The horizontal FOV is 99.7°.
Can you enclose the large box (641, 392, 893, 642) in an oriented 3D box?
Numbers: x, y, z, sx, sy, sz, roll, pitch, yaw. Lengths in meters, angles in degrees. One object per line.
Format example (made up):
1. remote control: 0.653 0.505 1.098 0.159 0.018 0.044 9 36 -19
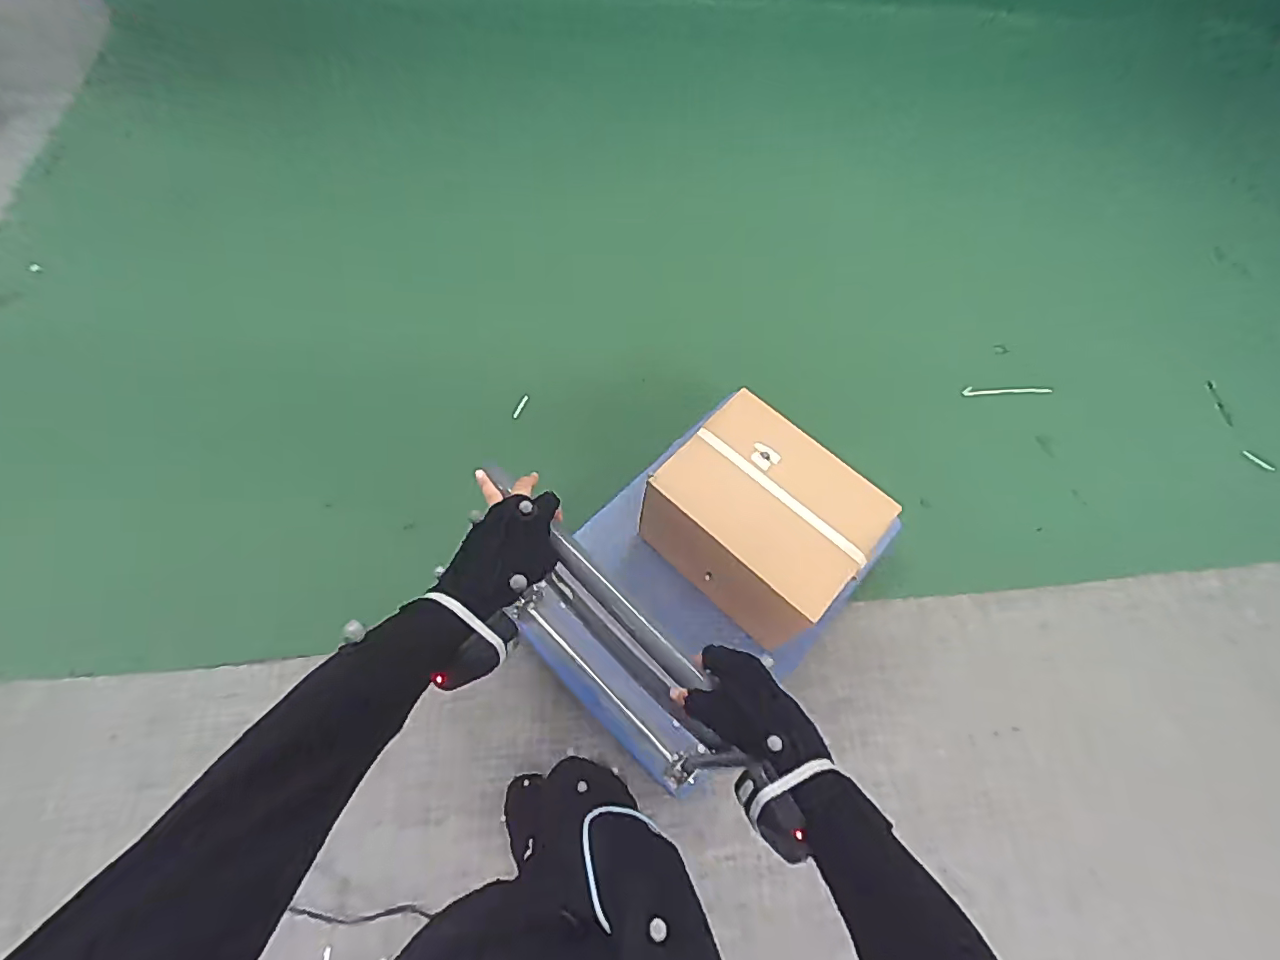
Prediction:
1. large box: 0.252 0.092 1.201 0.408 0.320 0.320 40 68 15
